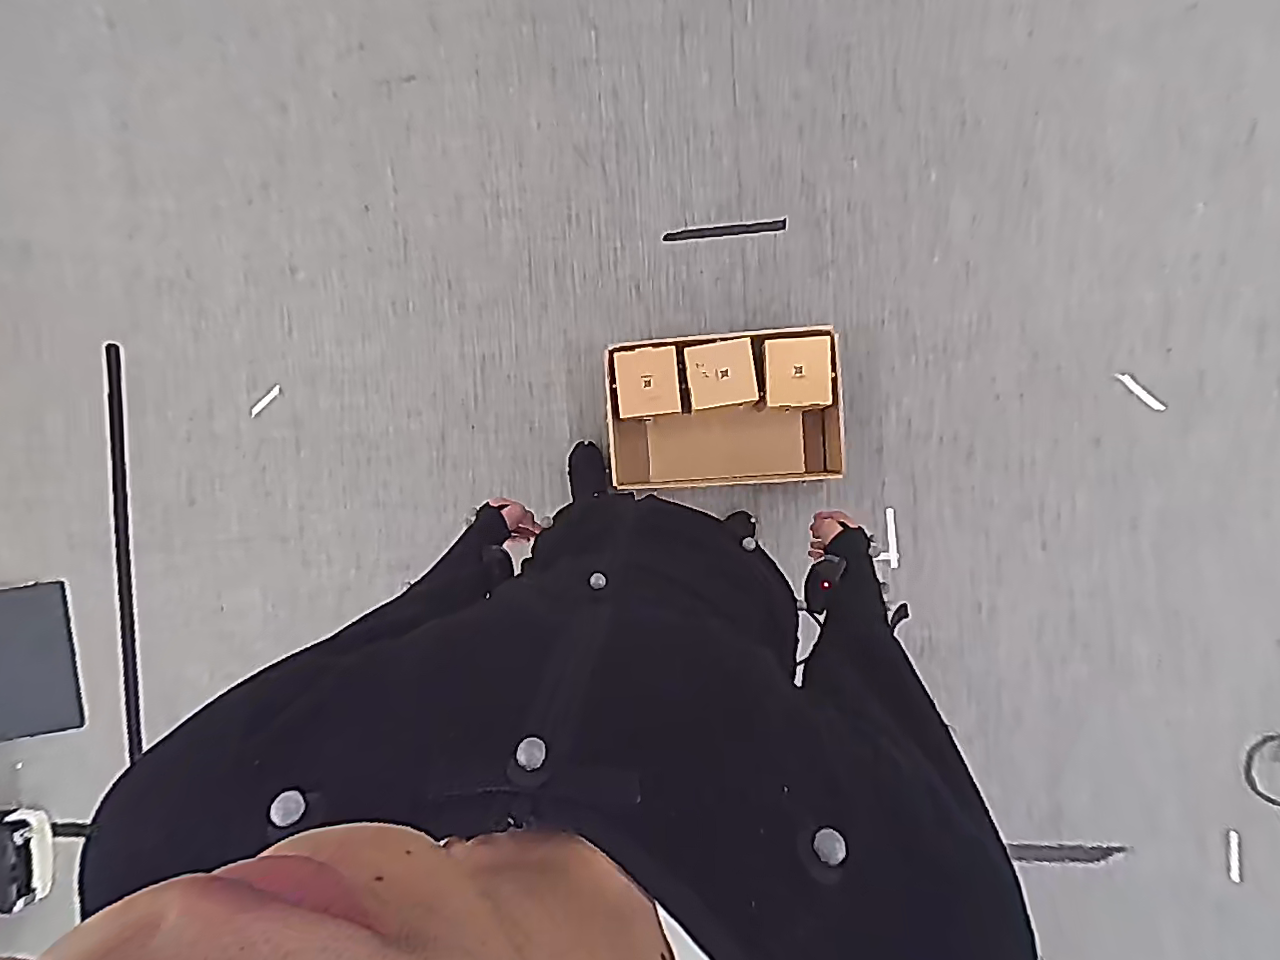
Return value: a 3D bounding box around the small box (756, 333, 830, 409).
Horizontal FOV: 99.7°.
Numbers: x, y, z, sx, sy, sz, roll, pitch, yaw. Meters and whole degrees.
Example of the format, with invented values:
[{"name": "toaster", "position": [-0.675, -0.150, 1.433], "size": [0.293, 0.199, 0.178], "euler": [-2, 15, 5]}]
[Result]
[{"name": "small box", "position": [0.410, -0.290, 1.465], "size": [0.168, 0.176, 0.179], "euler": [-3, 94, 6]}]
